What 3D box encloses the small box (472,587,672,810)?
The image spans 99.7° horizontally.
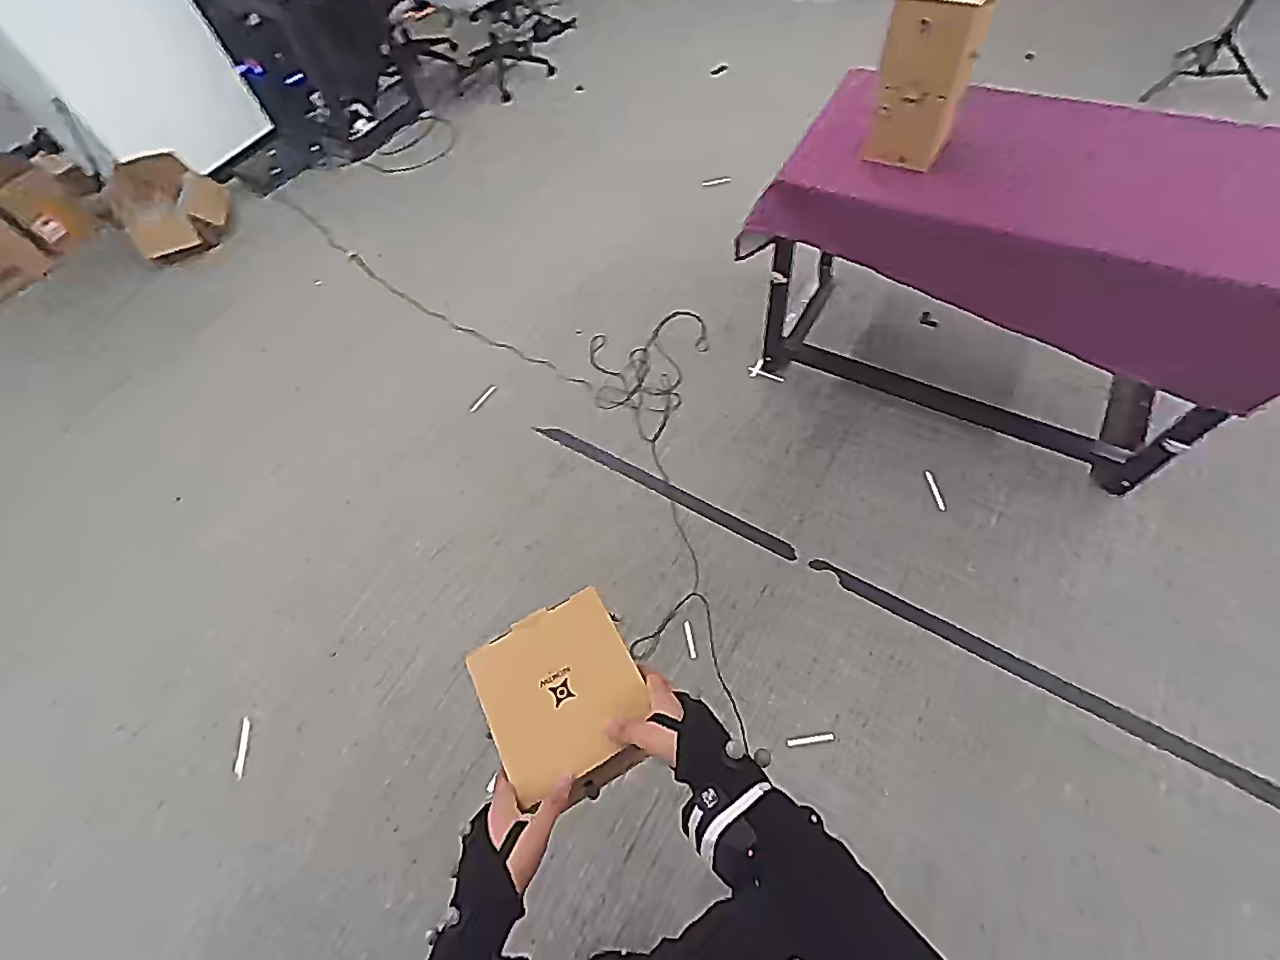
[{"bbox_3d":[-0.072,0.264,0.649,0.168,0.176,0.179,-28,58,-11],"label":"small box"}]

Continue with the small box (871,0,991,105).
[{"bbox_3d":[0.647,-0.979,1.216,0.179,0.176,0.168,29,67,21],"label":"small box"}]
